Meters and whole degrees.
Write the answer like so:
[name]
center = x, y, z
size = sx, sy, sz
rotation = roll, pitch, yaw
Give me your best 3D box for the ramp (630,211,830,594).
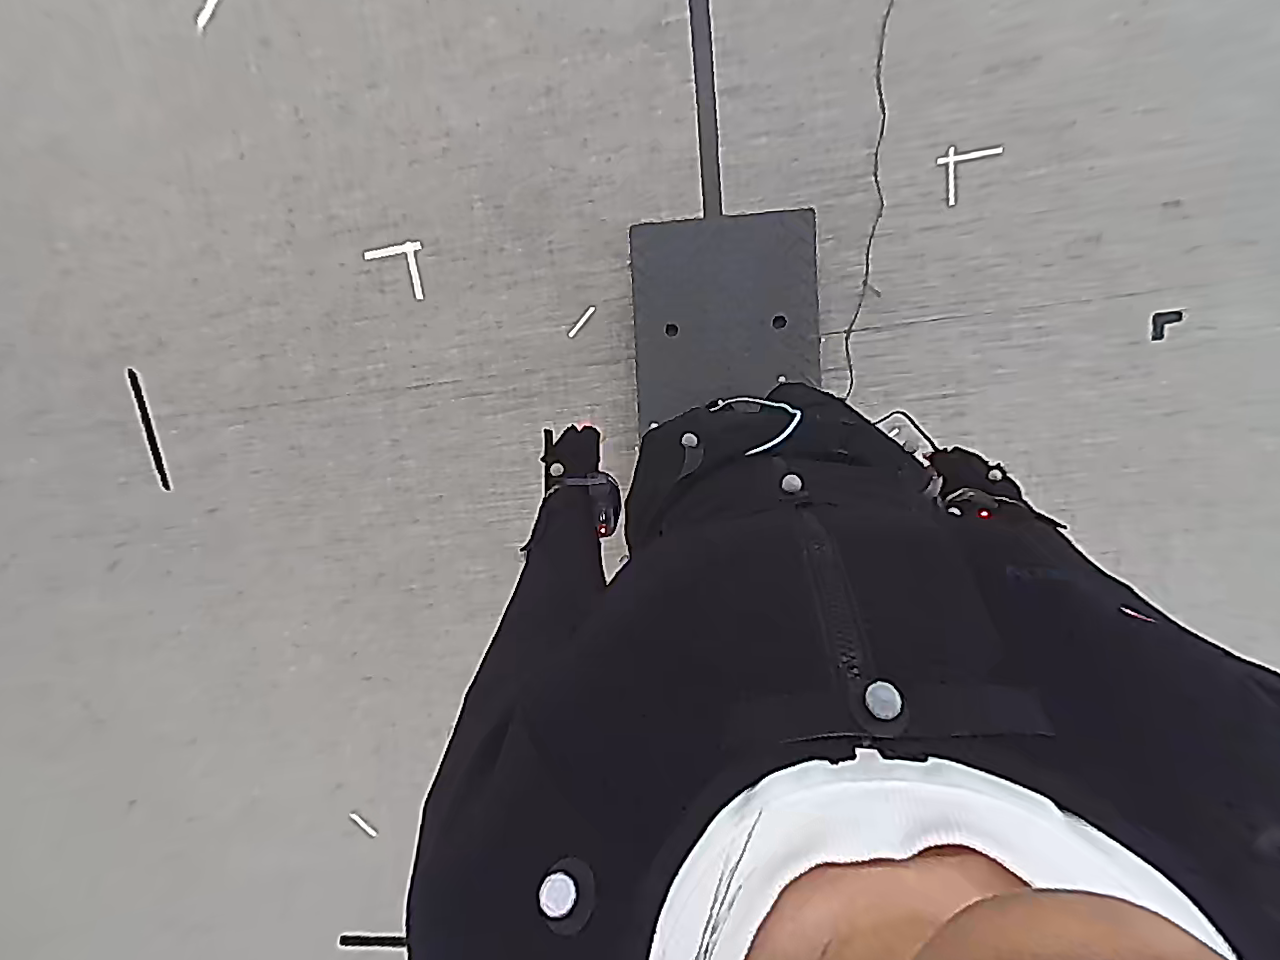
[ramp]
center = 0.235, -0.196, 1.451
size = 0.509, 0.206, 0.991
rotation = -4, 100, 8
